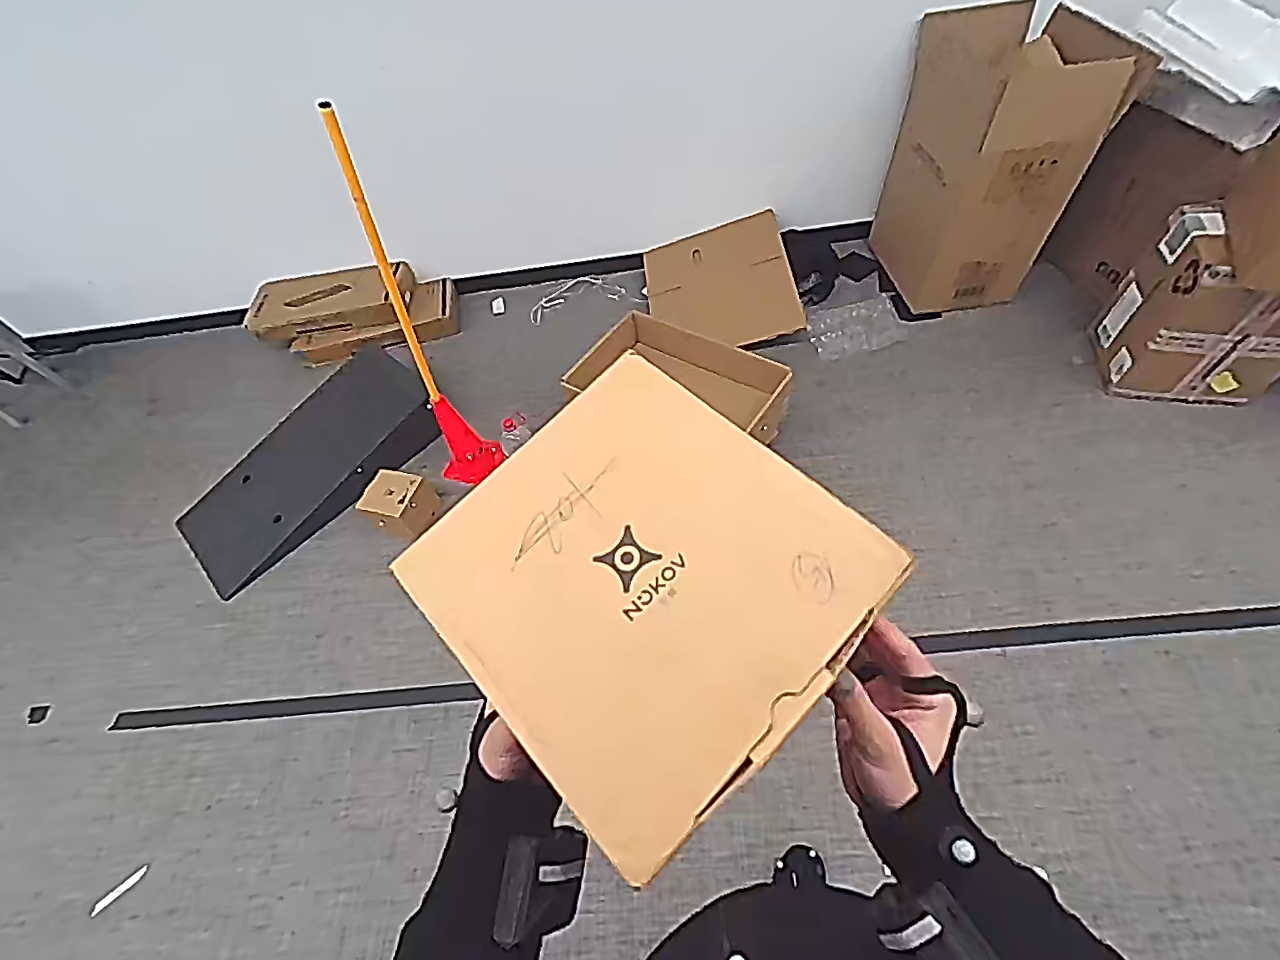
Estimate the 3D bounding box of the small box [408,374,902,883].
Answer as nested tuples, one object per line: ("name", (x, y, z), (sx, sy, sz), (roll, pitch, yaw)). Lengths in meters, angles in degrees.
("small box", (0.012, 0.079, 0.321), (0.179, 0.176, 0.168), (40, 77, 25))
